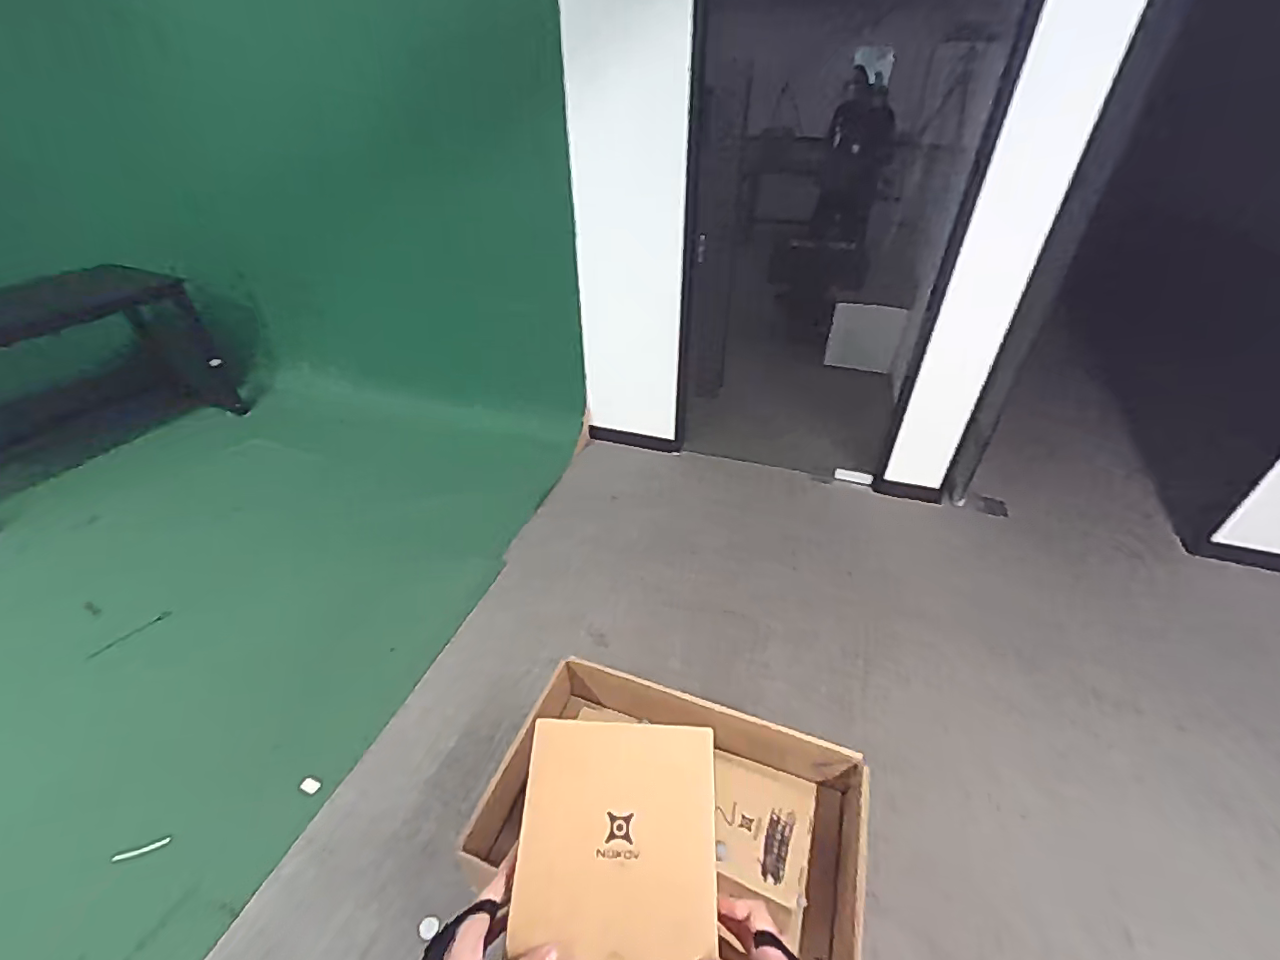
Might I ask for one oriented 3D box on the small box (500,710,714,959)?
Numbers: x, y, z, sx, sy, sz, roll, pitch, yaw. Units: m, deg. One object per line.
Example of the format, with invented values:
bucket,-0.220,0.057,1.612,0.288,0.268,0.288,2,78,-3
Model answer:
small box,-0.027,0.333,0.517,0.168,0.176,0.179,4,57,-2
